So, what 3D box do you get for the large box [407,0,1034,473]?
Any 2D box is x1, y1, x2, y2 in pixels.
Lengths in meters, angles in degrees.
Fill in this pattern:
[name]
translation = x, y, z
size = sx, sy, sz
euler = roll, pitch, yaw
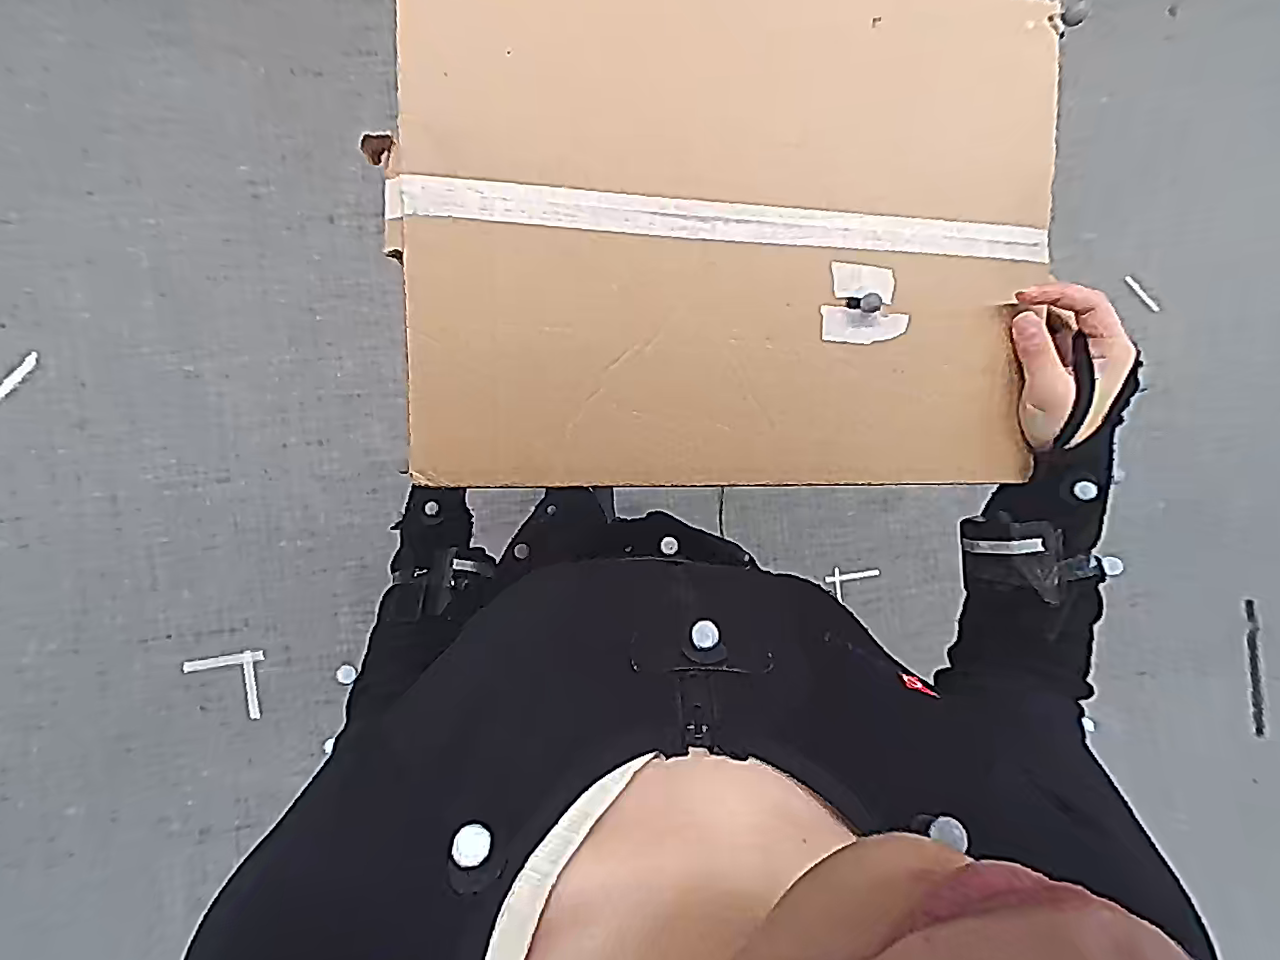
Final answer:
[large box]
translation = 0.039, -0.173, 0.479
size = 0.408, 0.320, 0.320
euler = -1, 95, -12
